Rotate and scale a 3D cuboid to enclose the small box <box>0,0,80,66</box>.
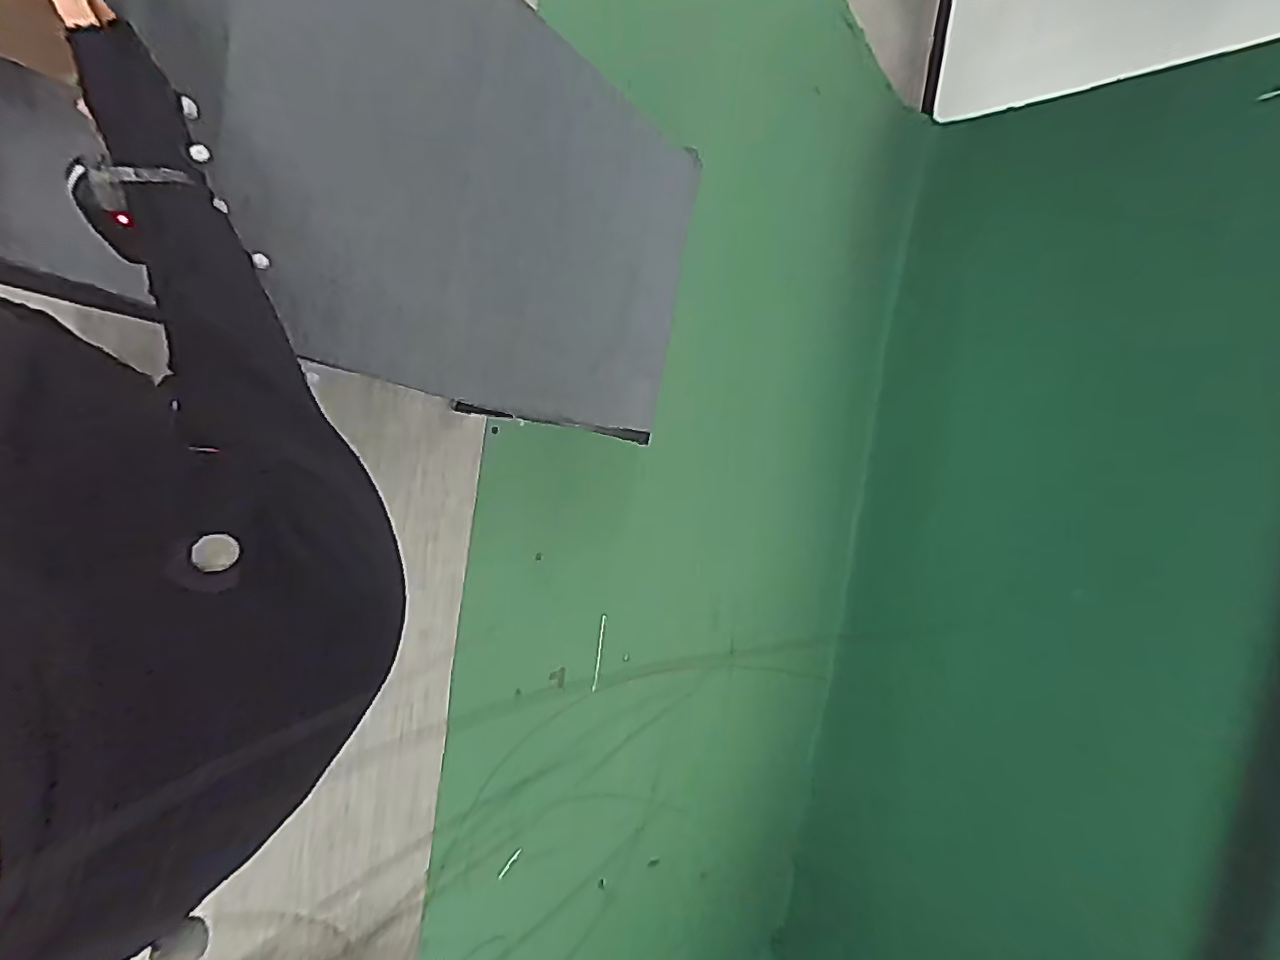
[{"bbox_3d":[-0.510,-0.444,0.379,0.168,0.176,0.179,1,98,-50],"label":"small box"}]
